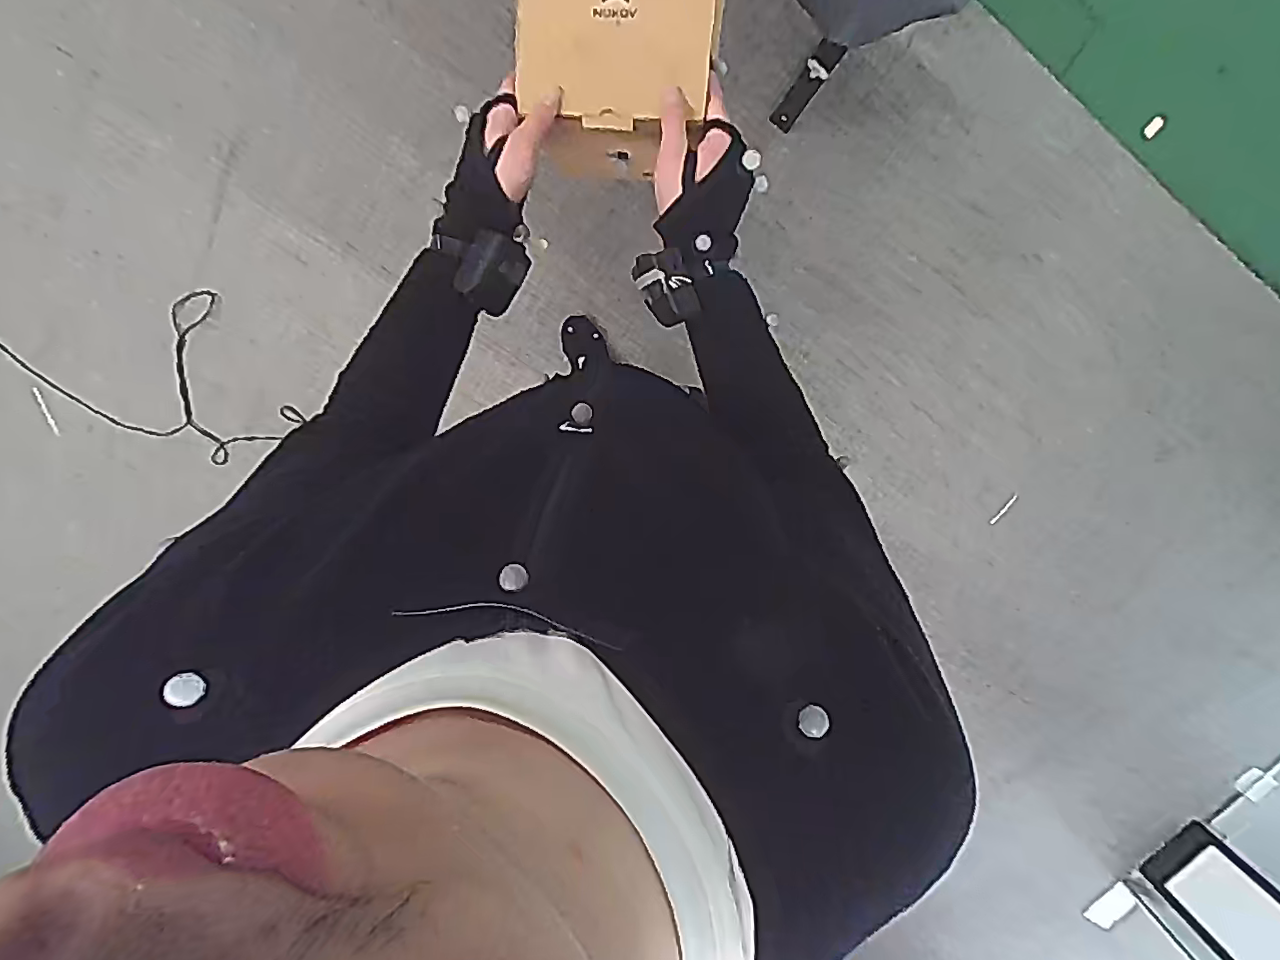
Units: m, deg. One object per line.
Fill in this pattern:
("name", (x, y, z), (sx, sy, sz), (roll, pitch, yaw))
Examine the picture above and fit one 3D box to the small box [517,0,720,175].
("small box", (-0.011, -0.411, 0.521), (0.168, 0.176, 0.179), (4, 104, 6))
